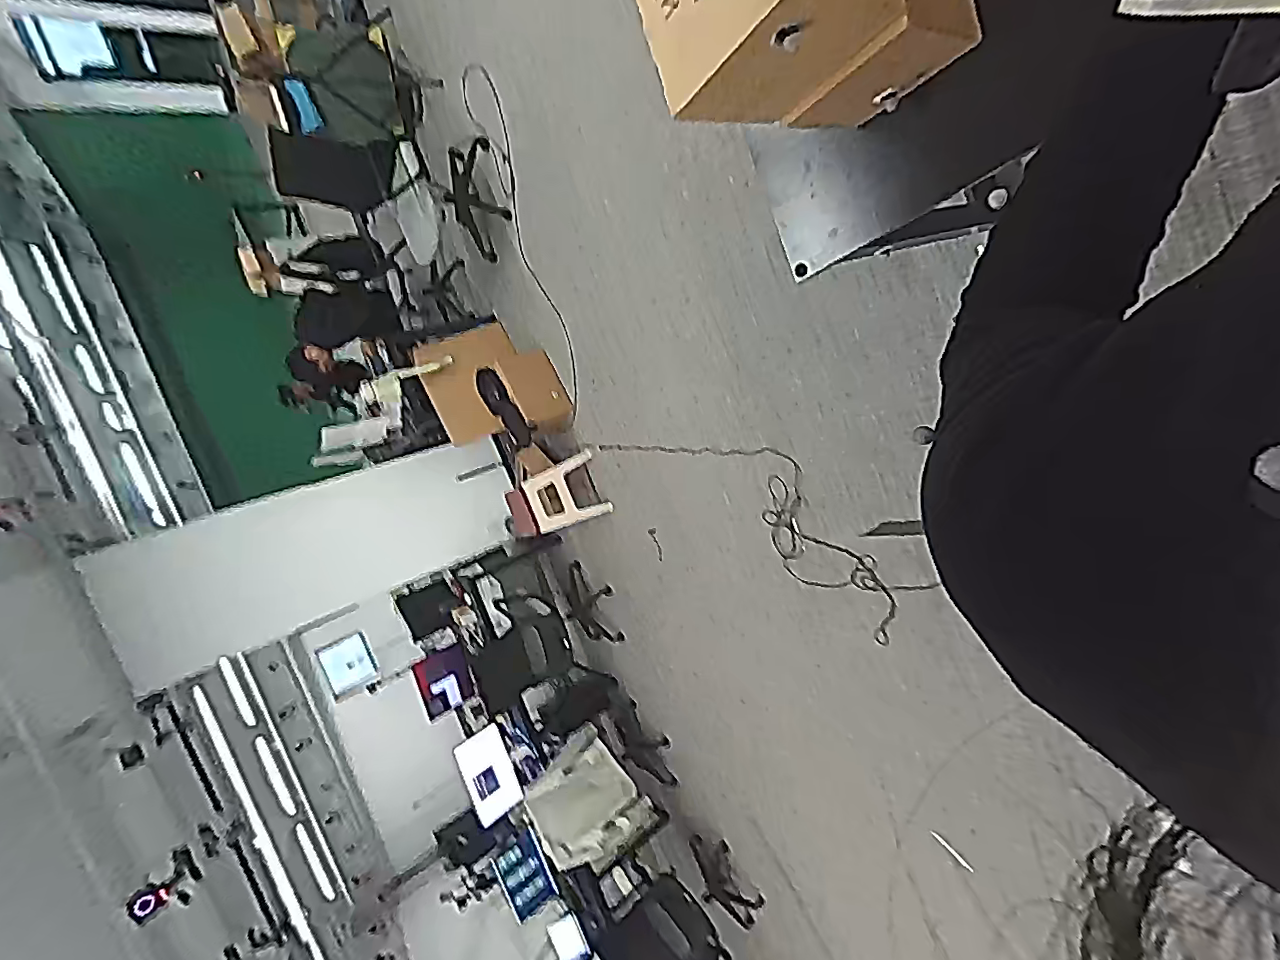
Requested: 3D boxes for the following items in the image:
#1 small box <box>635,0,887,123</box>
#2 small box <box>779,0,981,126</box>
[{"bbox_3d":[0.119,-0.490,0.536,0.179,0.176,0.168,-8,102,58],"label":"small box"},{"bbox_3d":[0.253,-0.540,0.620,0.168,0.176,0.179,-9,104,58],"label":"small box"}]
